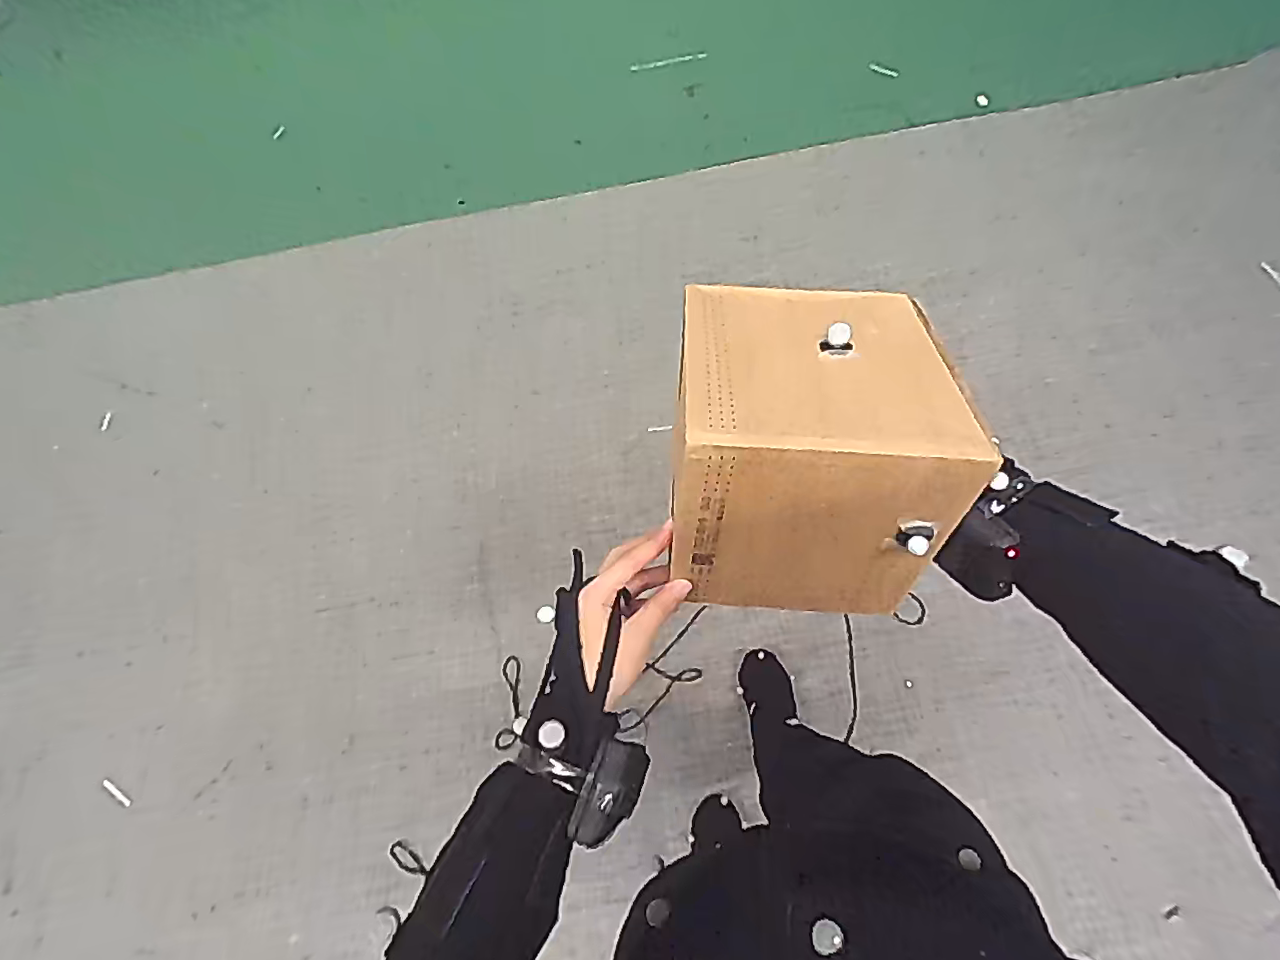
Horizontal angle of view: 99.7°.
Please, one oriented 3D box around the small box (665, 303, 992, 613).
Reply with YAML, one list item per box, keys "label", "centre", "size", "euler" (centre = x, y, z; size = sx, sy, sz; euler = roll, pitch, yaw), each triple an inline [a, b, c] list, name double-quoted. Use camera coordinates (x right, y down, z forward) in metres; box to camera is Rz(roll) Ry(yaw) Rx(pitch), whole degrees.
- label: "small box"
  centre: [0.110, -0.020, 0.408]
  size: [0.176, 0.168, 0.179]
  euler: [2, 47, 1]
